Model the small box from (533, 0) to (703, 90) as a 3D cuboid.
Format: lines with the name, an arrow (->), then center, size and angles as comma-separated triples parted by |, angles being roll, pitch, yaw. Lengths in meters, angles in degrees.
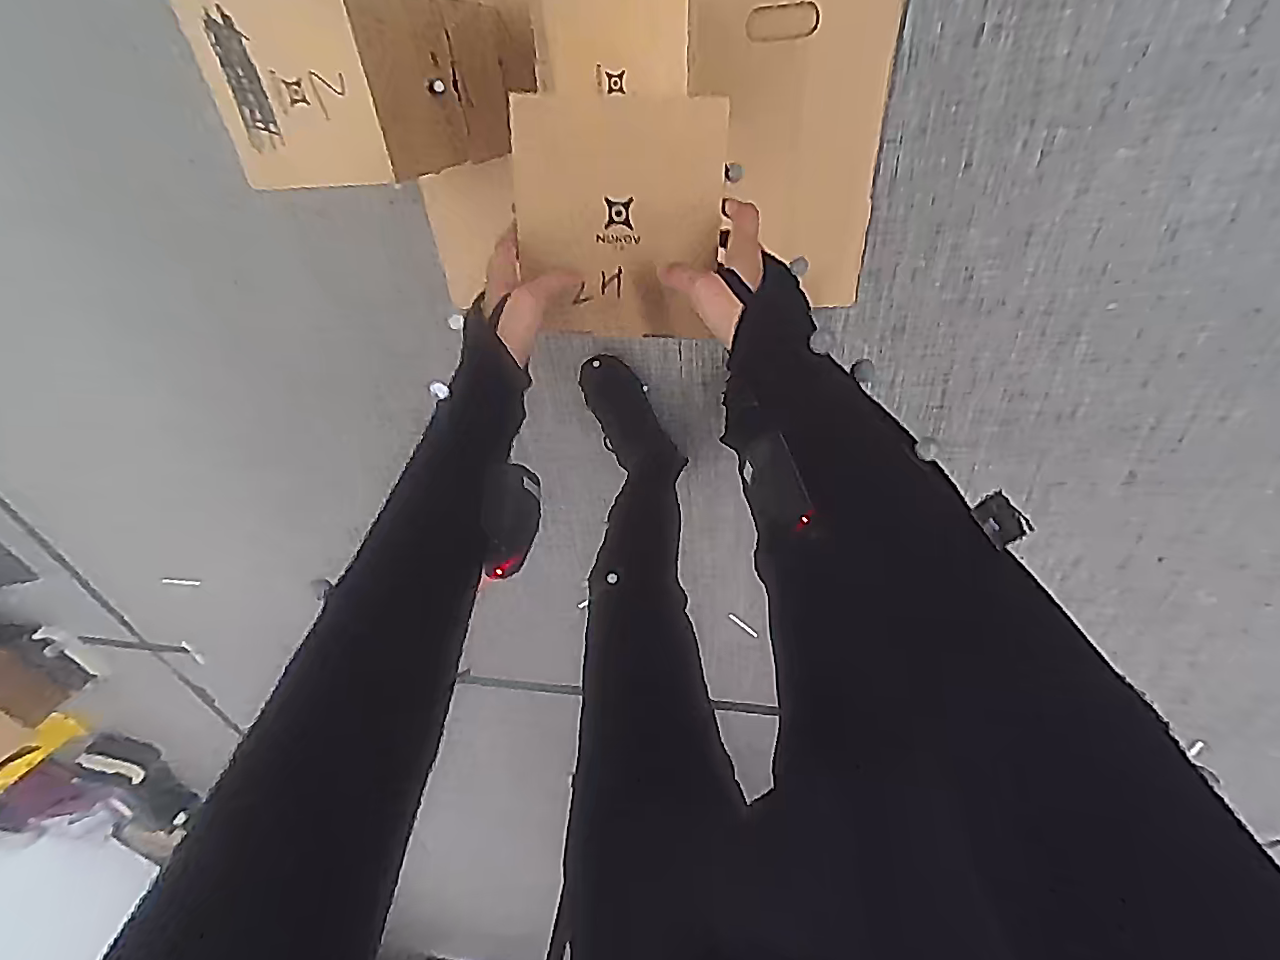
small box -> -0.015, -0.497, 0.675 | 0.179, 0.176, 0.168 | 4, 128, 9

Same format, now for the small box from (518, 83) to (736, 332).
small box -> -0.009, -0.247, 0.506 | 0.168, 0.176, 0.179 | 4, 118, 3

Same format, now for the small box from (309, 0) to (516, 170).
small box -> -0.277, -0.517, 0.713 | 0.179, 0.176, 0.168 | 4, 127, 11
